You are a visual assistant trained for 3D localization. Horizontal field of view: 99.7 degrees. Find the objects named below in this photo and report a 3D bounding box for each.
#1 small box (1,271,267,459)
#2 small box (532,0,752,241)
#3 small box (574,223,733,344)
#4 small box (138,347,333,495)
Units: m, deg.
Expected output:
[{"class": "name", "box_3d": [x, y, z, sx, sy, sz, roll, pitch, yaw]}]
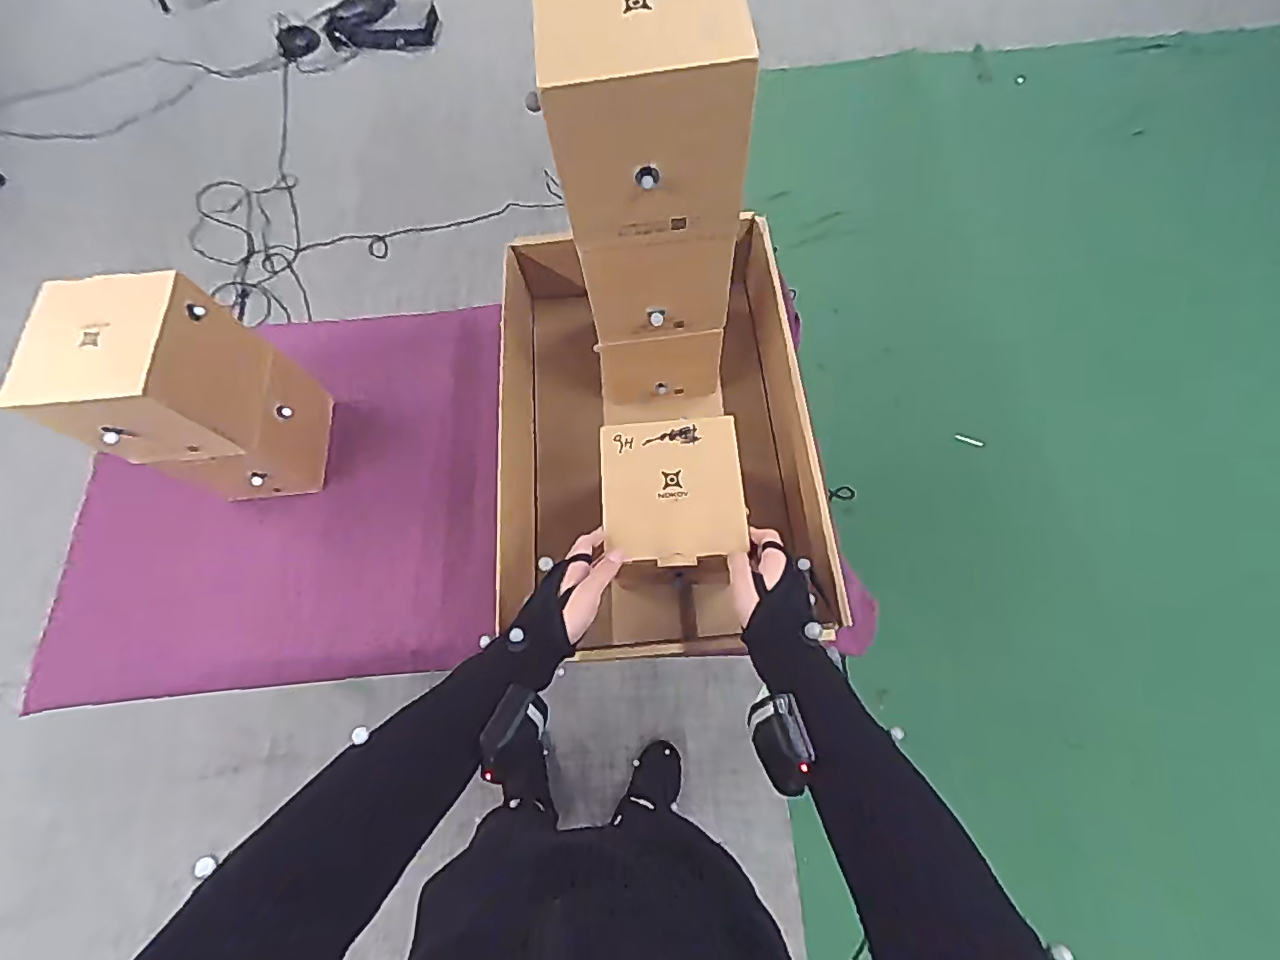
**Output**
[{"class": "small box", "box_3d": [-0.623, -0.135, 0.695, 0.168, 0.176, 0.179, -5, 69, 1]}, {"class": "small box", "box_3d": [0.002, -0.344, 0.498, 0.168, 0.176, 0.179, -6, 70, 2]}, {"class": "small box", "box_3d": [0.012, -0.292, 0.655, 0.168, 0.176, 0.179, -7, 71, 2]}, {"class": "small box", "box_3d": [-0.614, -0.082, 0.847, 0.168, 0.176, 0.179, -5, 69, 1]}]
